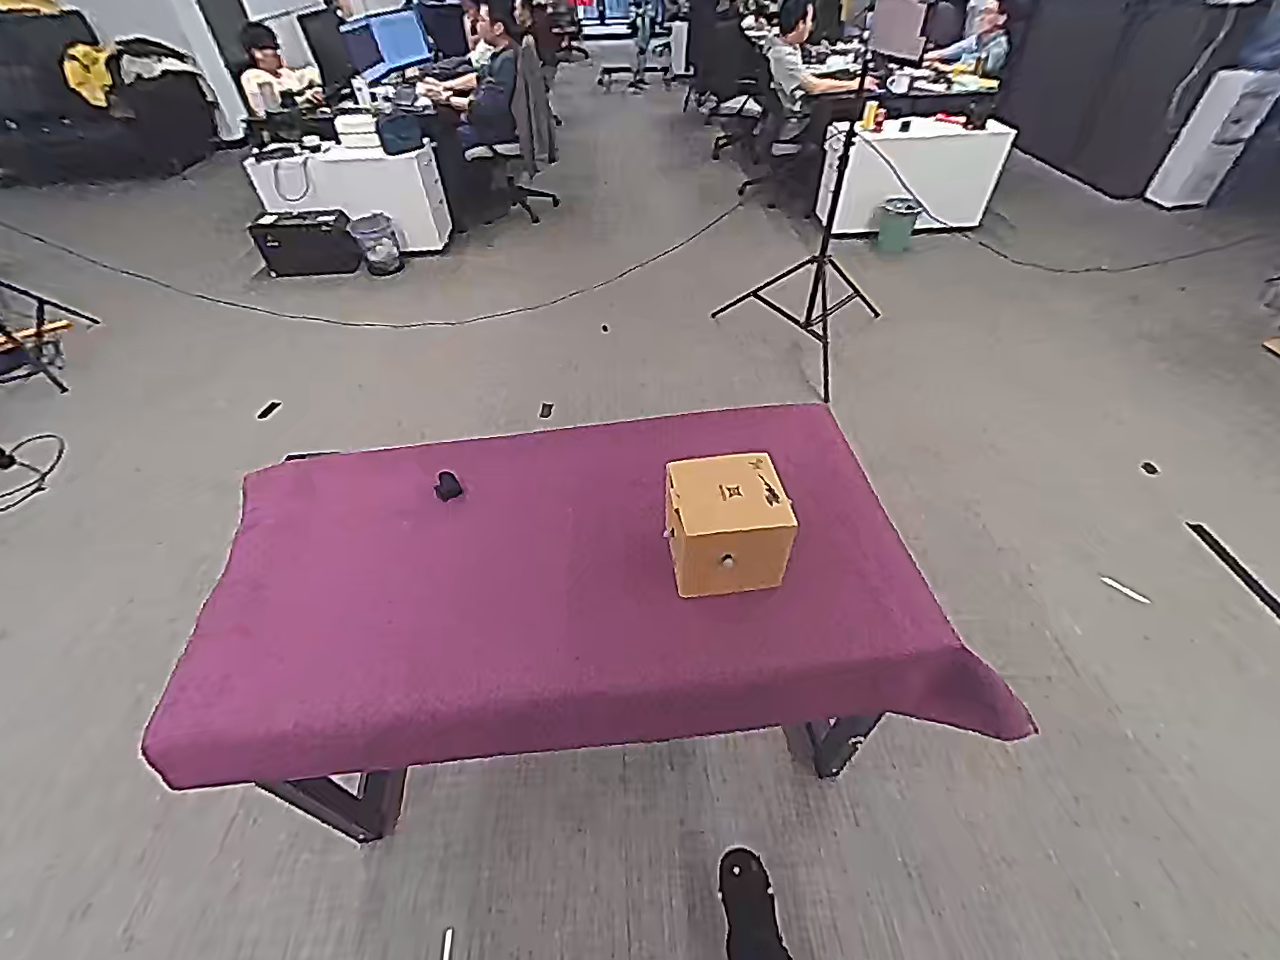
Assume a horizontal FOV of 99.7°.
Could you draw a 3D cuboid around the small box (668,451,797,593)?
[{"bbox_3d":[0.147,0.074,0.915,0.179,0.176,0.168,-7,45,-3],"label":"small box"}]
